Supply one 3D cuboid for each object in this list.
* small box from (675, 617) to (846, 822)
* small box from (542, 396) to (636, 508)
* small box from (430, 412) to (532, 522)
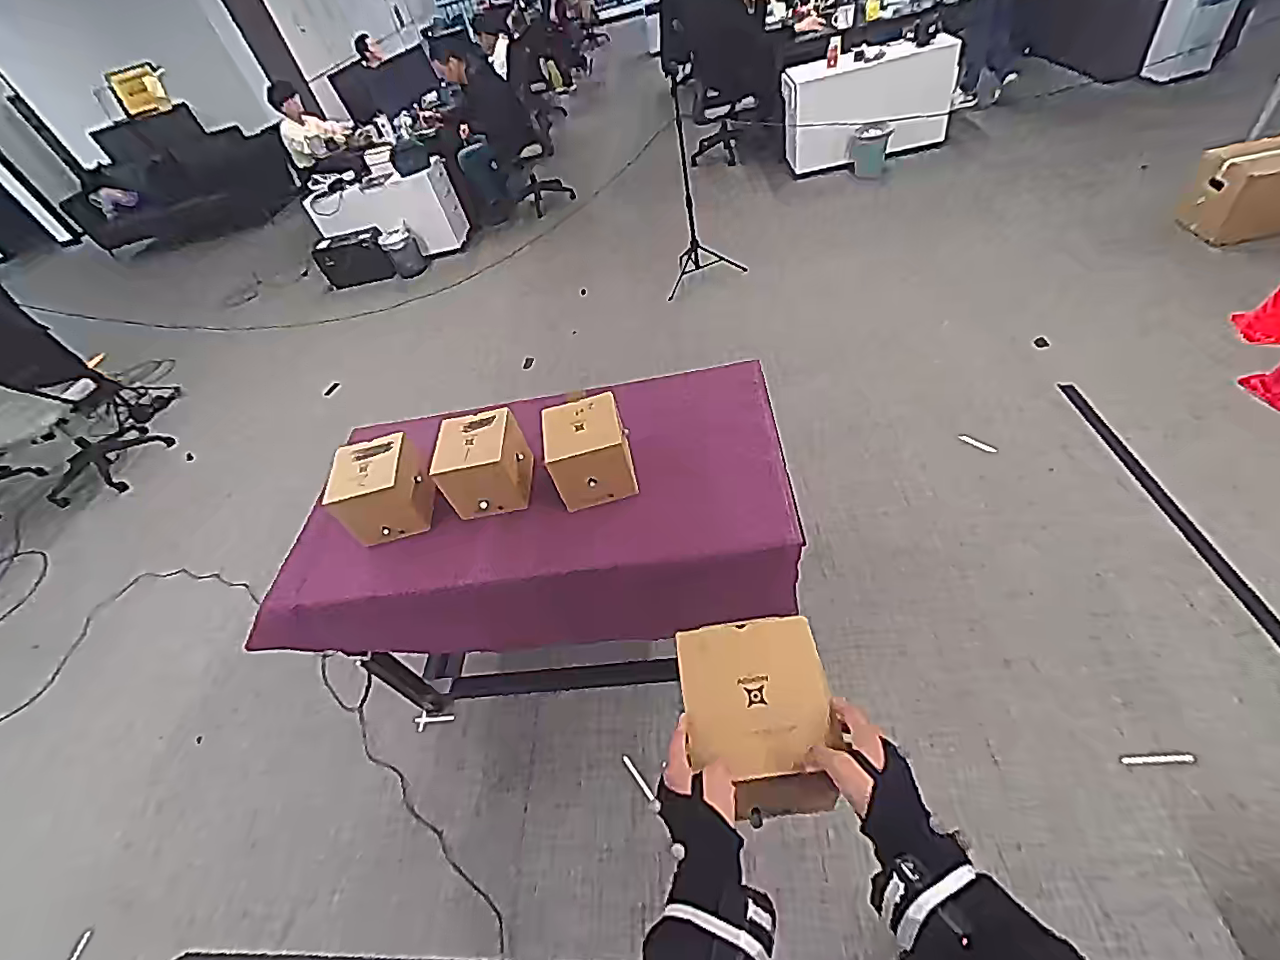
[{"bbox_3d":[0.139,0.299,0.676,0.168,0.176,0.179,-9,44,3],"label":"small box"},{"bbox_3d":[-0.114,-0.056,1.219,0.168,0.176,0.179,-15,46,2],"label":"small box"},{"bbox_3d":[-0.362,-0.029,1.267,0.168,0.176,0.179,-11,47,6],"label":"small box"}]
